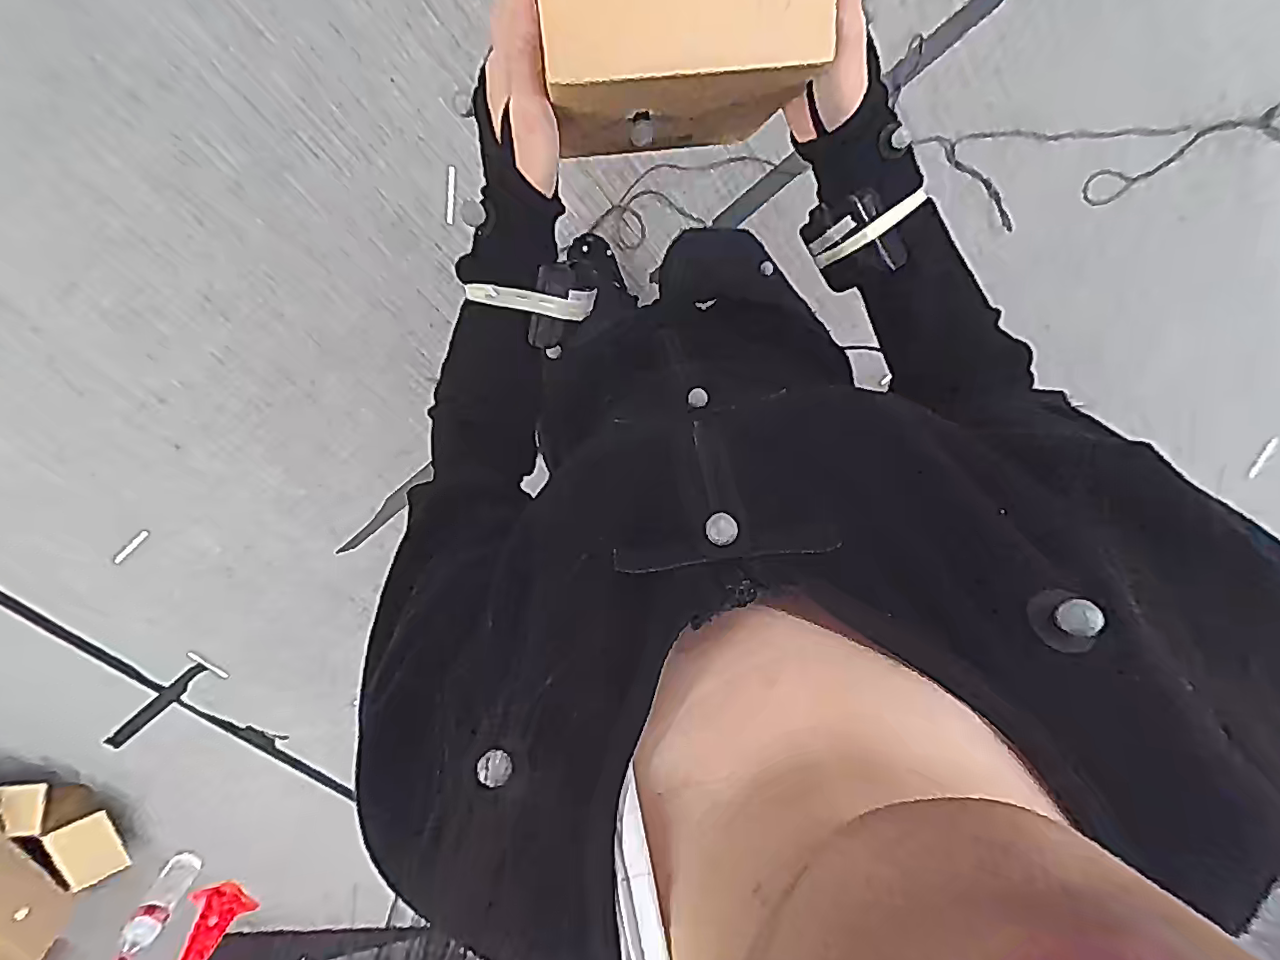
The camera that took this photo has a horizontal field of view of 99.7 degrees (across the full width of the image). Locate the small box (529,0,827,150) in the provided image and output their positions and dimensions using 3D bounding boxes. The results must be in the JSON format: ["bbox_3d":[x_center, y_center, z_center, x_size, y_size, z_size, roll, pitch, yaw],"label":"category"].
[{"bbox_3d":[0.010,-0.333,0.352,0.168,0.176,0.179,-8,108,-5],"label":"small box"}]
